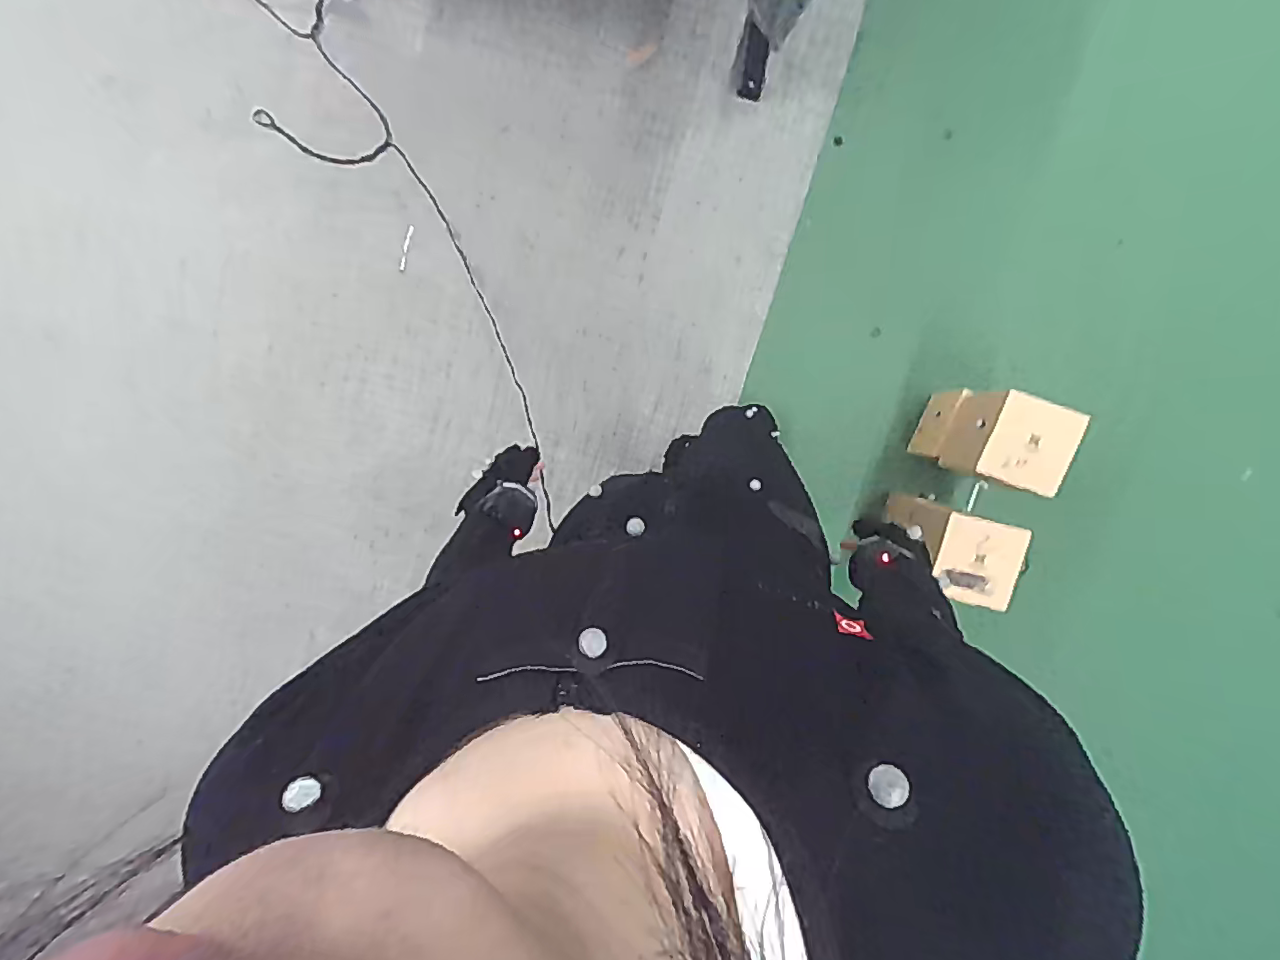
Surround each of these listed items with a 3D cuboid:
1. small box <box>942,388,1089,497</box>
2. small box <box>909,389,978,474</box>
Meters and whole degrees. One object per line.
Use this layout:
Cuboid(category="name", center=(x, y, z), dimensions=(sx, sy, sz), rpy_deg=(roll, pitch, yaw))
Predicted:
Cuboid(category="small box", center=(0.784, -0.081, 1.153), dimensions=(0.168, 0.176, 0.179), rpy_deg=(21, 97, 3))
Cuboid(category="small box", center=(0.793, -0.109, 1.316), dimensions=(0.179, 0.176, 0.168), rpy_deg=(22, 97, 2))
